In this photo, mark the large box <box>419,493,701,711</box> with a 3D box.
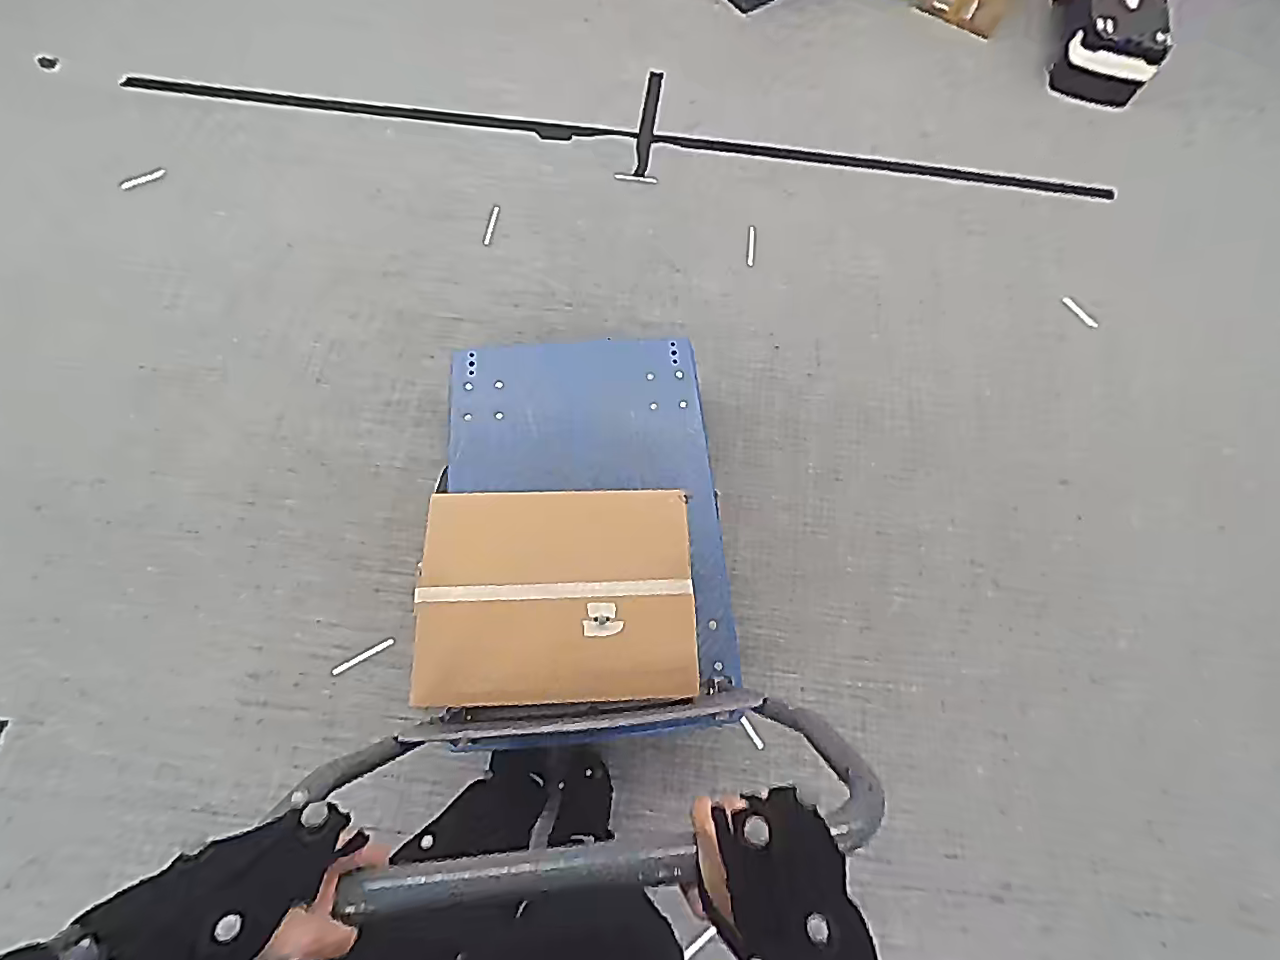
[{"bbox_3d":[-0.126,0.220,0.947,0.408,0.320,0.320,-1,70,-4],"label":"large box"}]
